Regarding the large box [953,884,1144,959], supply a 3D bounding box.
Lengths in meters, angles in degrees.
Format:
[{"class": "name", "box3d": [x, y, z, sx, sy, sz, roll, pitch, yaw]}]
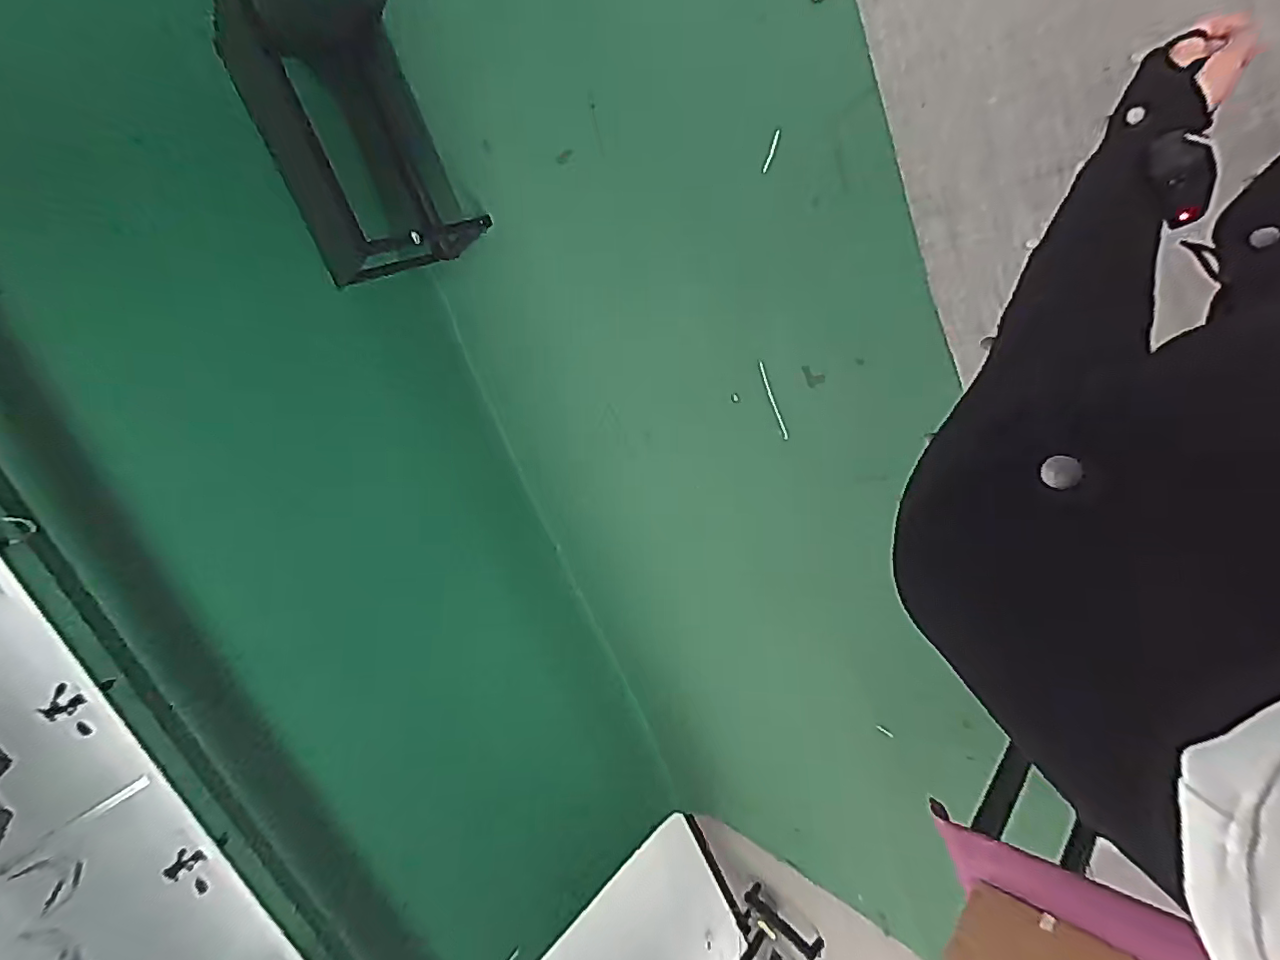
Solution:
[{"class": "large box", "box3d": [0.913, 1.221, 1.170, 0.320, 0.320, 0.408, -6, 111, 53]}]
